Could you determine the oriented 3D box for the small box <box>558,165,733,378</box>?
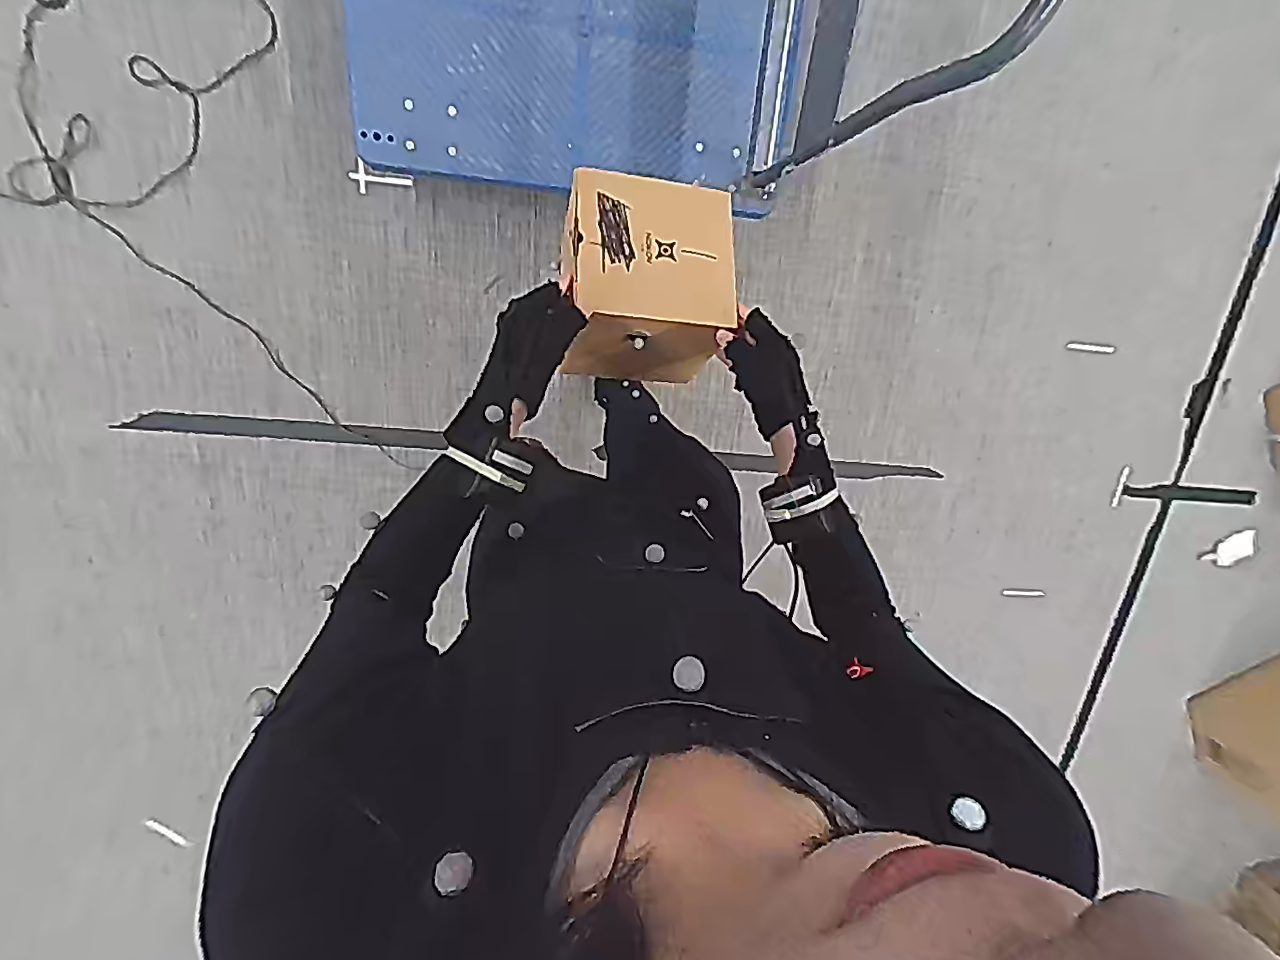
[{"bbox_3d":[-0.003,-0.231,0.646,0.179,0.176,0.168,3,79,-14],"label":"small box"}]
